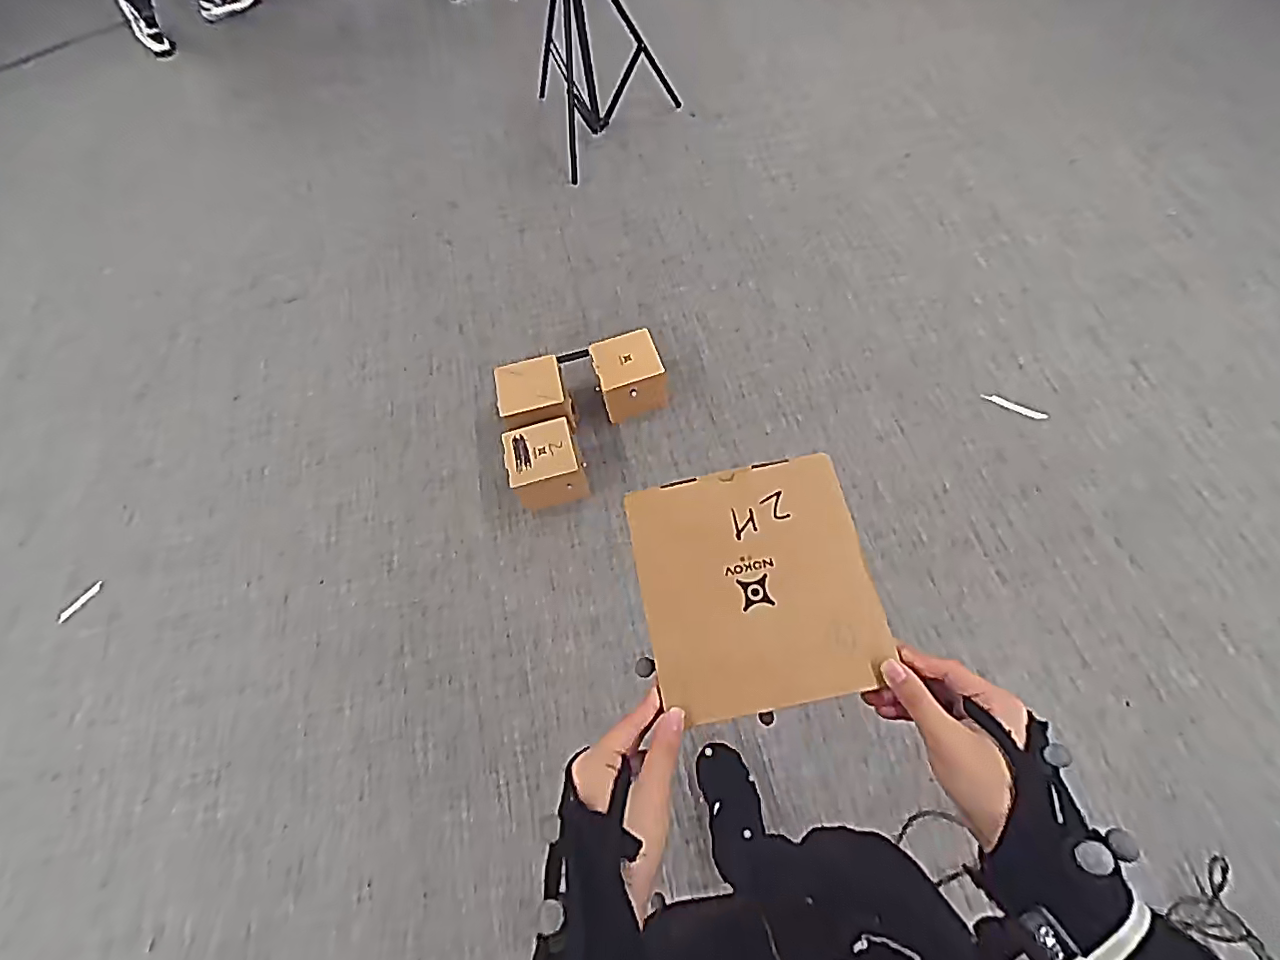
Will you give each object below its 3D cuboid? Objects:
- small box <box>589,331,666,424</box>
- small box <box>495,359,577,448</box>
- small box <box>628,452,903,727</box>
[{"bbox_3d":[-0.031,-0.287,1.542,0.179,0.176,0.168,-18,64,-3],"label":"small box"},{"bbox_3d":[-0.292,-0.218,1.529,0.179,0.176,0.168,-14,63,-1],"label":"small box"},{"bbox_3d":[0.091,0.099,0.468,0.168,0.176,0.179,-12,69,0],"label":"small box"}]
